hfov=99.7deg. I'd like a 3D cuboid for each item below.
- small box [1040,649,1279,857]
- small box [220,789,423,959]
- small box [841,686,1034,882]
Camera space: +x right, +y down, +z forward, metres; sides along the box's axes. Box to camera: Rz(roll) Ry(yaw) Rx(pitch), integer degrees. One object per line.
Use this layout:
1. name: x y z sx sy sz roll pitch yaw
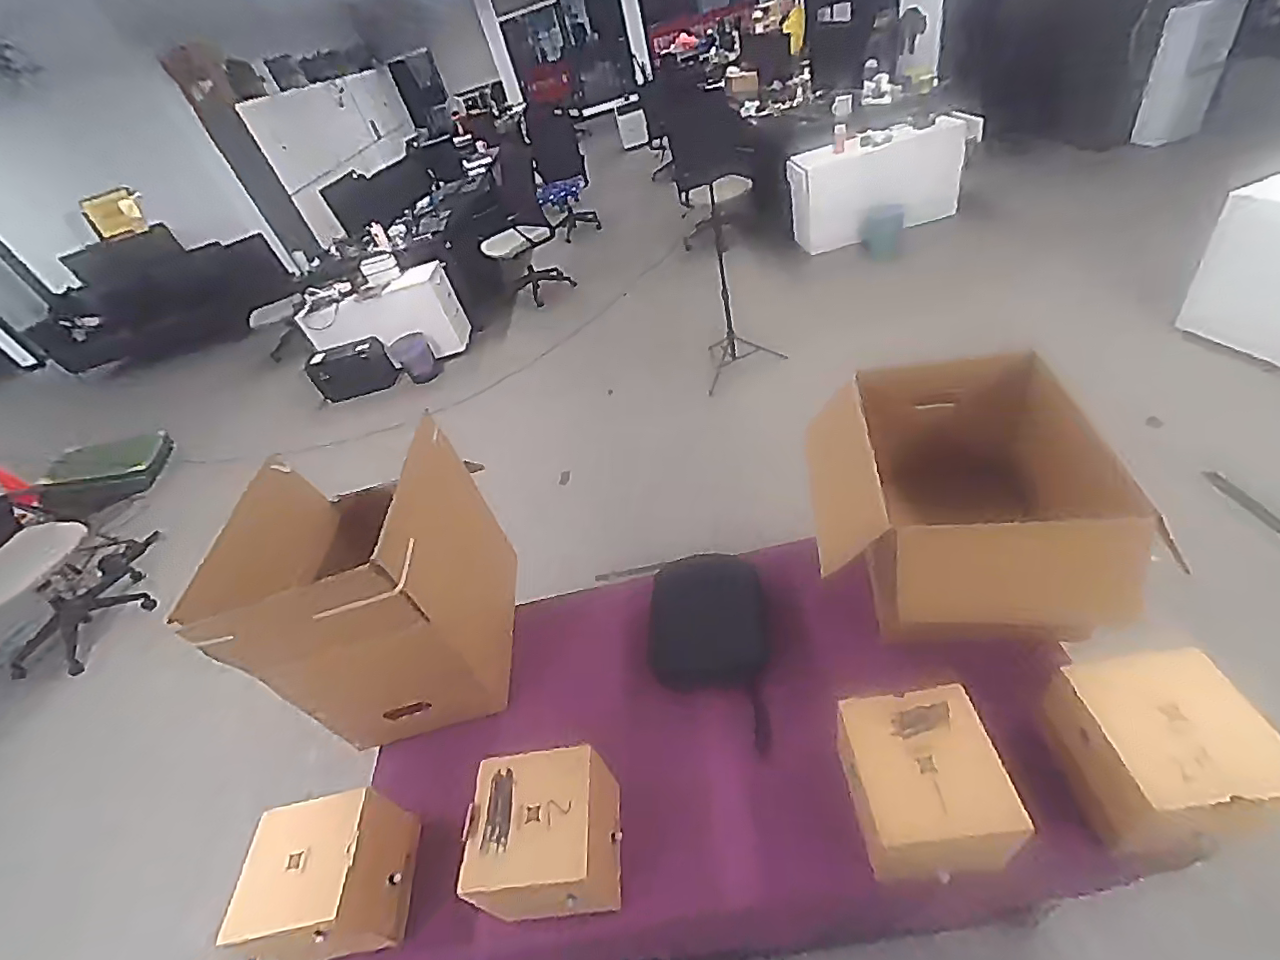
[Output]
1. small box: 0.648 0.343 0.681 0.168 0.176 0.179 -12 40 9
2. small box: -0.463 0.603 0.819 0.179 0.176 0.168 -15 40 3
3. small box: 0.373 0.406 0.721 0.168 0.176 0.179 -12 41 8
